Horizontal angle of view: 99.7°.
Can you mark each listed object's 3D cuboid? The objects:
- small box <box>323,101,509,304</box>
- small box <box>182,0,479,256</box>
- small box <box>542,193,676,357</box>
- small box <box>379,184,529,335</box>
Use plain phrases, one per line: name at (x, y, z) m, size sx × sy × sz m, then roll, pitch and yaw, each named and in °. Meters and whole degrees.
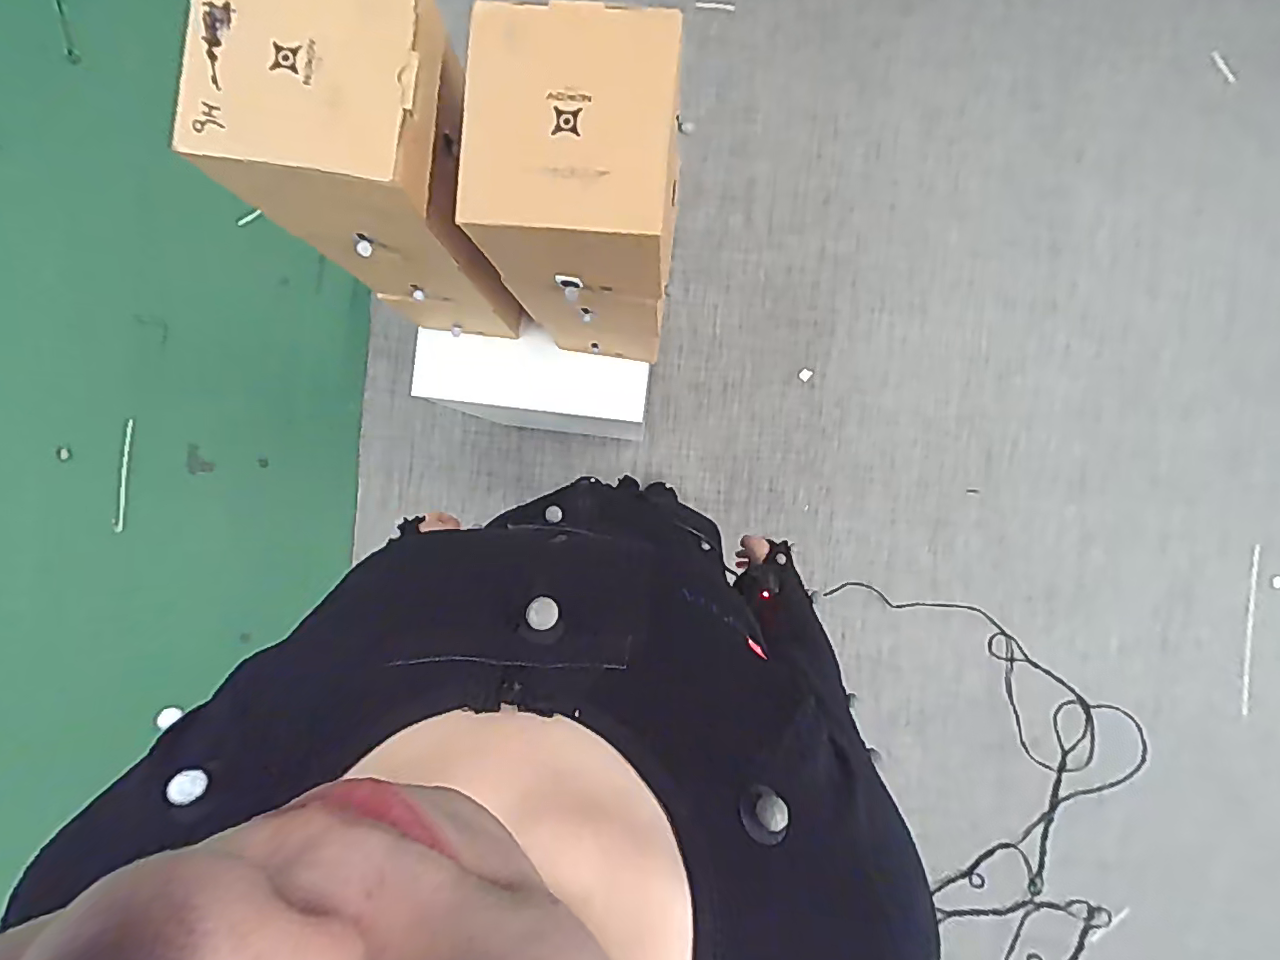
small box at (-0.267, -0.338, 0.664) m, size 0.168 × 0.176 × 0.179 m, roll 8°, pitch 91°, yaw -1°
small box at (-0.261, -0.326, 0.500) m, size 0.179 × 0.176 × 0.168 m, roll 8°, pitch 91°, yaw -2°
small box at (-0.043, -0.302, 0.828) m, size 0.168 × 0.176 × 0.179 m, roll 9°, pitch 91°, yaw 1°
small box at (-0.272, -0.337, 0.828) m, size 0.168 × 0.176 × 0.179 m, roll 7°, pitch 92°, yaw 0°
